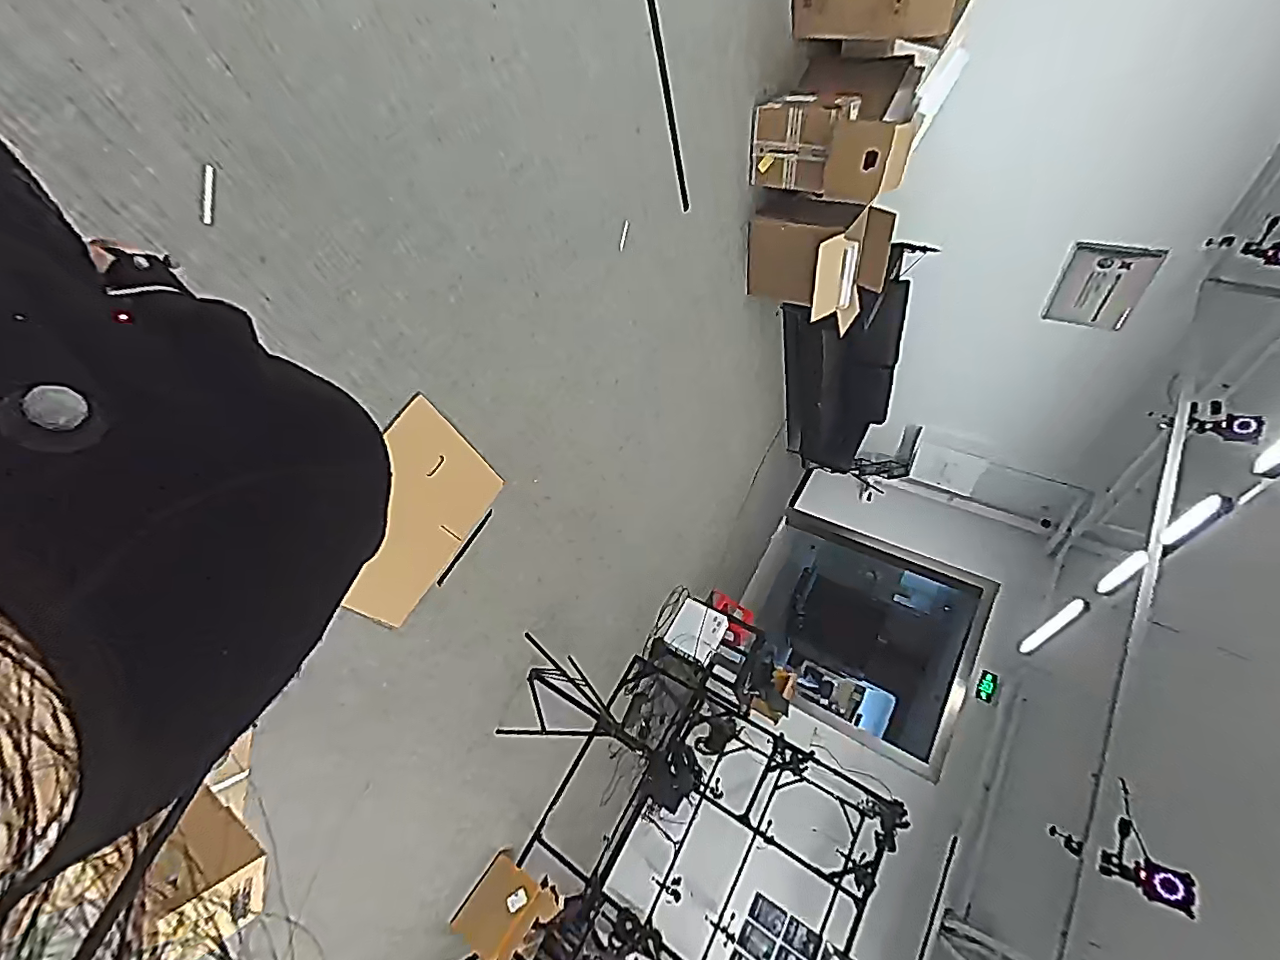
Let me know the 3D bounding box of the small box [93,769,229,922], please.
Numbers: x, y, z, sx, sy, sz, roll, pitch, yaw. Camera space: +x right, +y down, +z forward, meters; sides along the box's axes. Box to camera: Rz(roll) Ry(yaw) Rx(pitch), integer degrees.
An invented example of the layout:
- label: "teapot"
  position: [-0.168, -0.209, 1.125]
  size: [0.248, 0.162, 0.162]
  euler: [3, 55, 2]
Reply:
- label: "small box"
  position: [-1.024, 0.767, 1.160]
  size: [0.179, 0.176, 0.168]
  euler: [-11, 118, -57]
